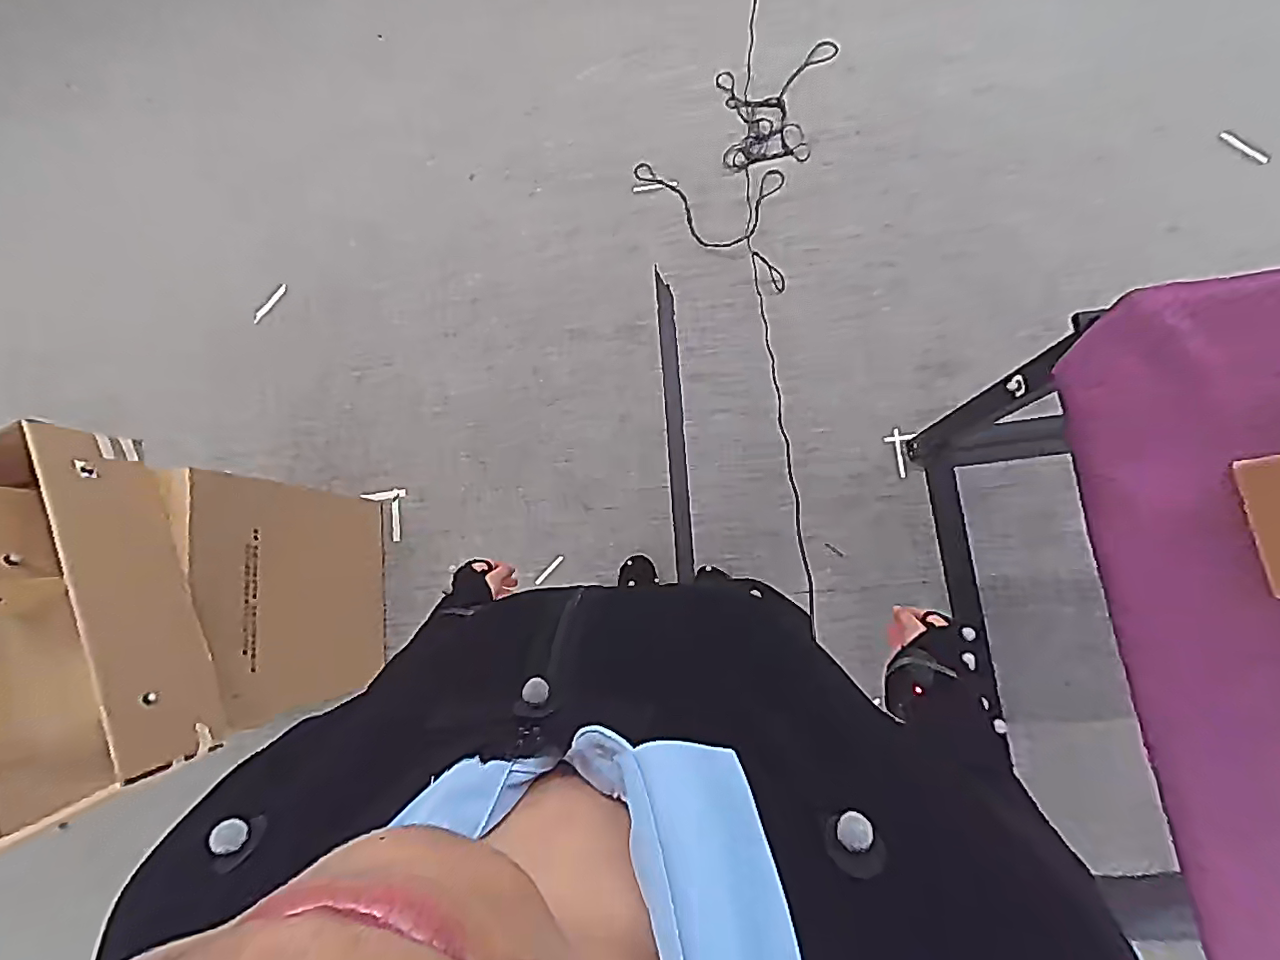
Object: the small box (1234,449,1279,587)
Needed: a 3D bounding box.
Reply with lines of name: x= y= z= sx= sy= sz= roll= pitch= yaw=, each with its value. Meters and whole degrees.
small box: x=0.852 y=0.033 z=0.612 sx=0.168 sy=0.176 sz=0.179 roll=-9 pitch=81 yaw=5
